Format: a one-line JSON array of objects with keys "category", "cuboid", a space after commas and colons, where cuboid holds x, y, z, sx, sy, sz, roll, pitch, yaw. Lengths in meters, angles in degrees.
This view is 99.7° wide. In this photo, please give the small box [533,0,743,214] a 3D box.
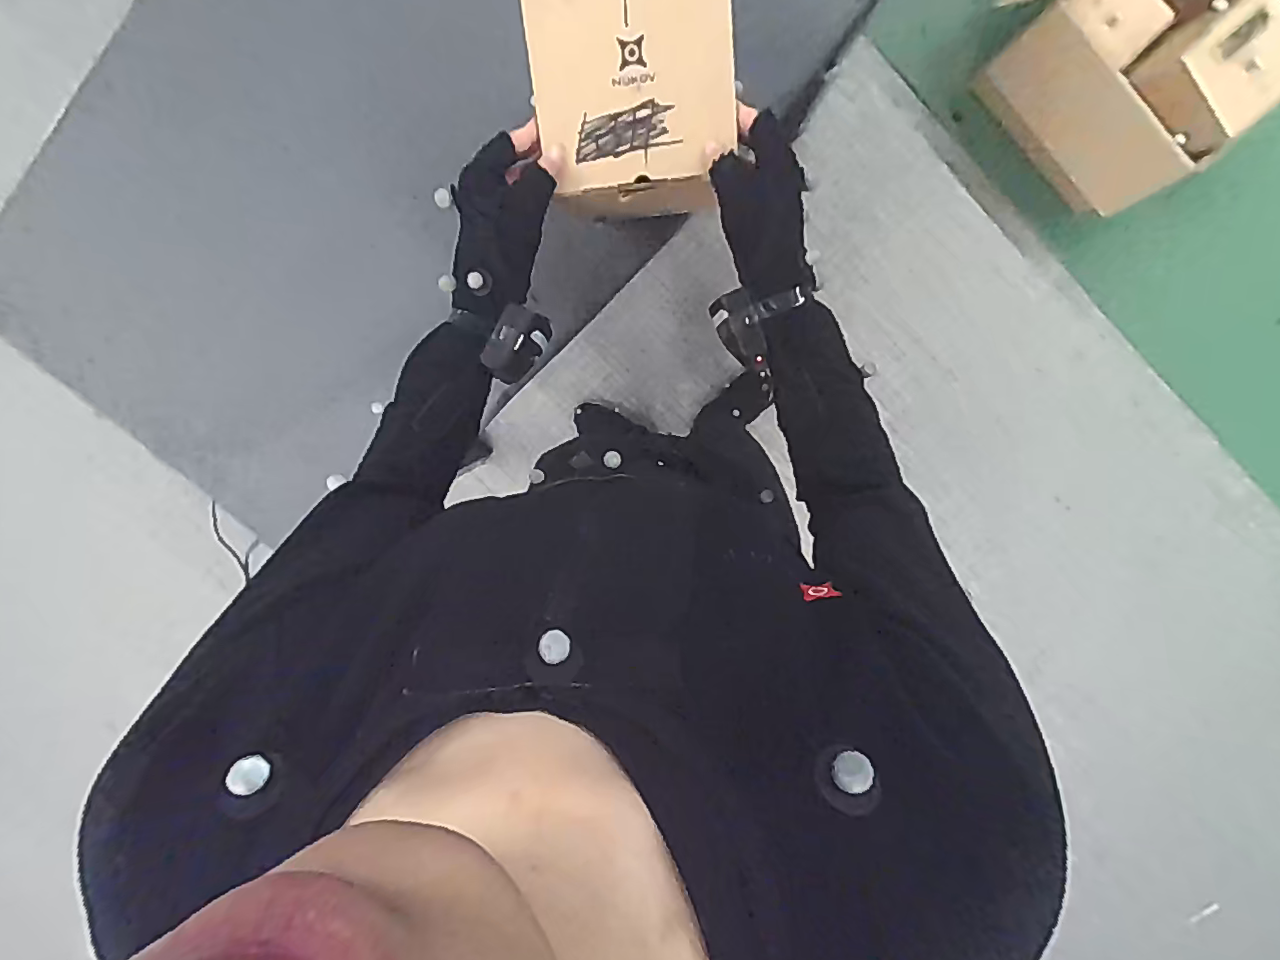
[{"category": "small box", "cuboid": [0.004, -0.359, 0.511, 0.168, 0.176, 0.179, -4, 107, 3]}]
